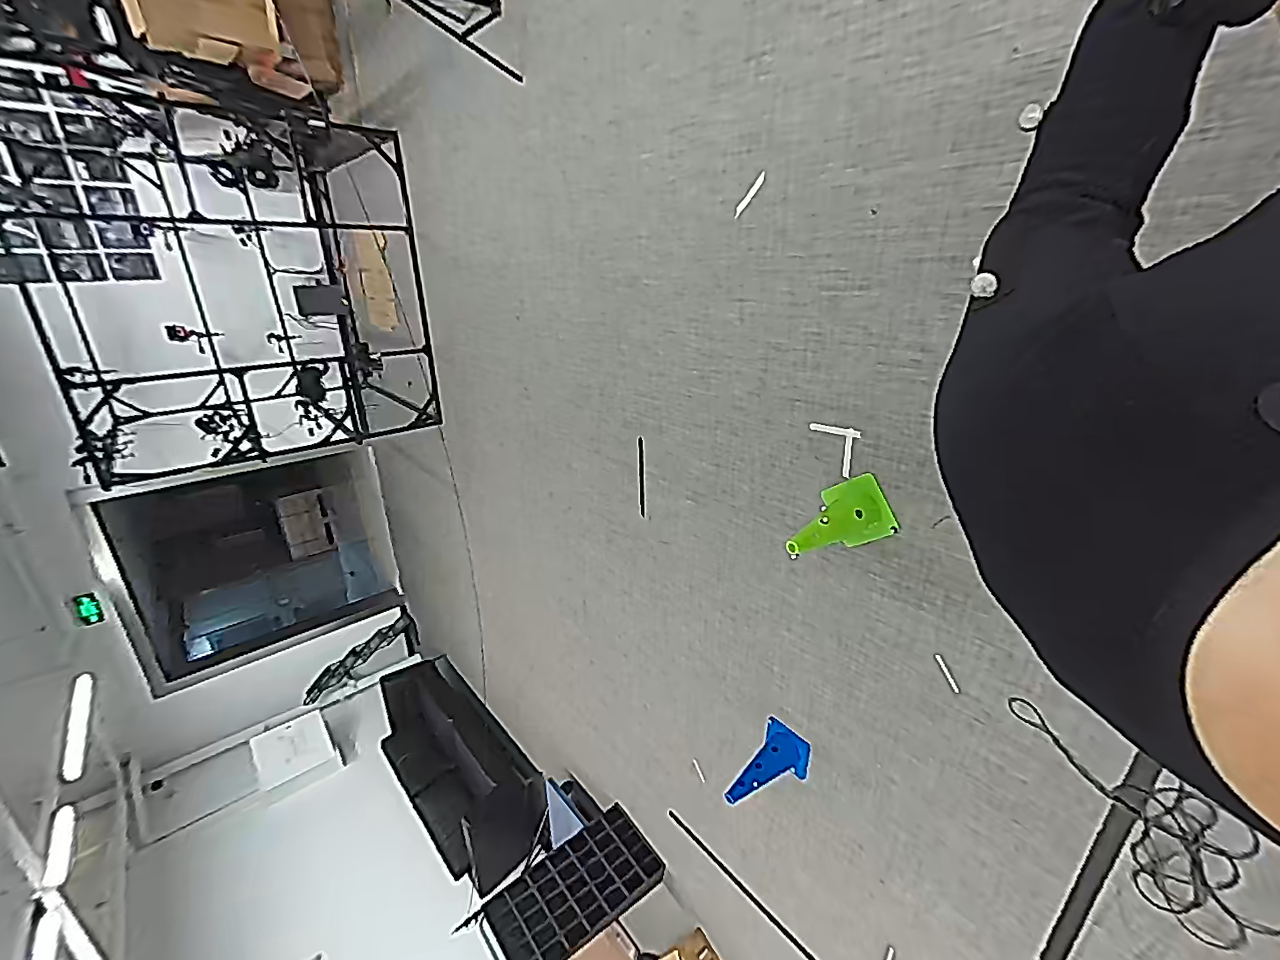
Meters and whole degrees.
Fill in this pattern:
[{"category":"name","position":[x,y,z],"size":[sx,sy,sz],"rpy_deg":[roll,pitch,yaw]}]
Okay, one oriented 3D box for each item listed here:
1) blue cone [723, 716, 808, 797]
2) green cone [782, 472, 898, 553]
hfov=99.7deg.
[{"category":"blue cone","position":[0.474,1.125,2.118],"size":[0.192,0.380,0.193],"rpy_deg":[28,125,44]},{"category":"green cone","position":[0.546,0.132,1.581],"size":[0.202,0.368,0.200],"rpy_deg":[-35,76,54]}]
